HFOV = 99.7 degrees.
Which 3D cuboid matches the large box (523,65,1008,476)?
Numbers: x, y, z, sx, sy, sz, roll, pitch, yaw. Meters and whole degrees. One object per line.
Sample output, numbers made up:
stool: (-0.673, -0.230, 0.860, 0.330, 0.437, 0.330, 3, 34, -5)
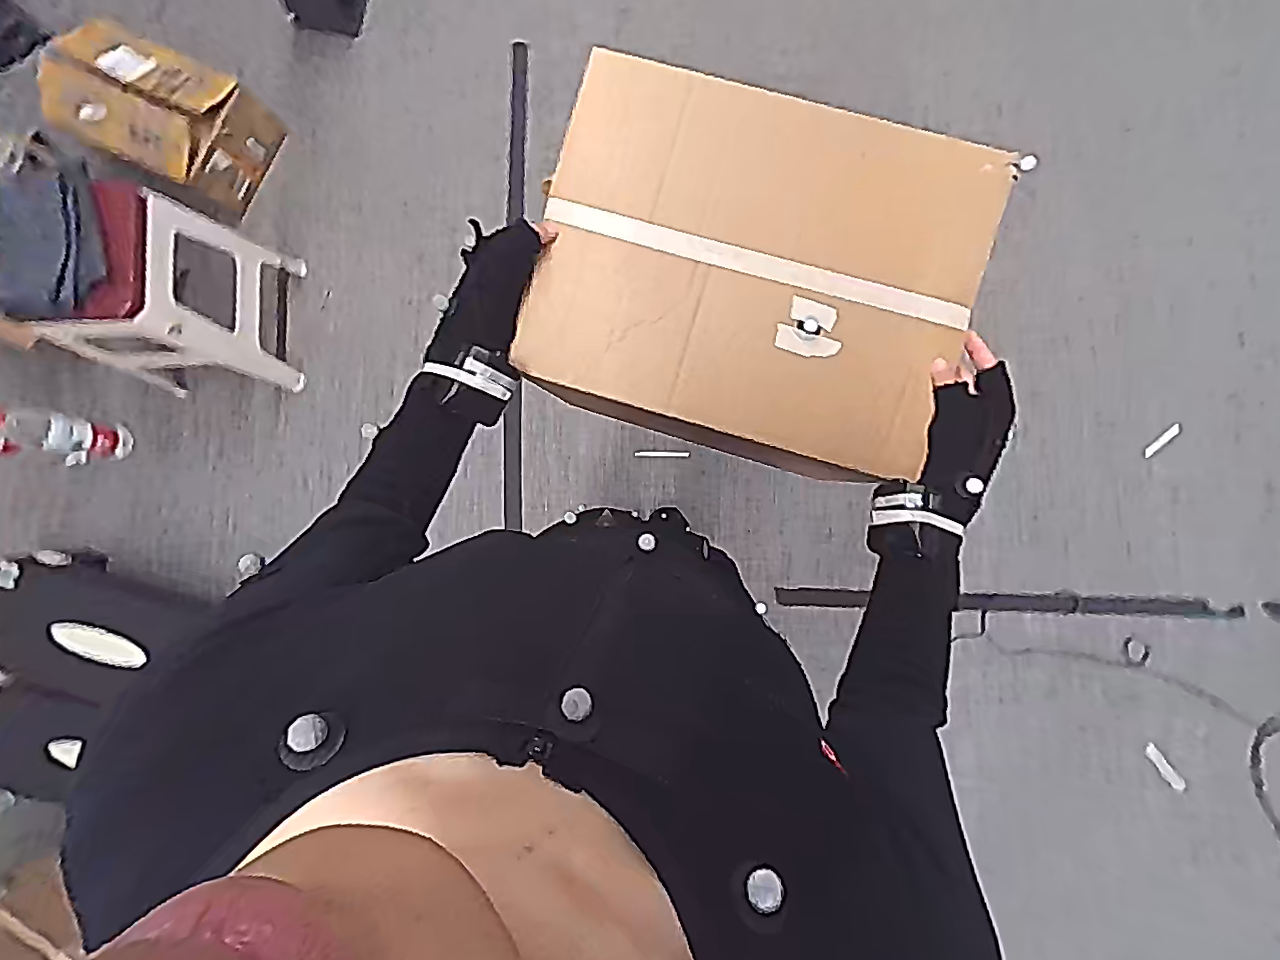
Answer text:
large box: (0.121, -0.207, 0.670, 0.408, 0.320, 0.320, 18, 93, 3)
